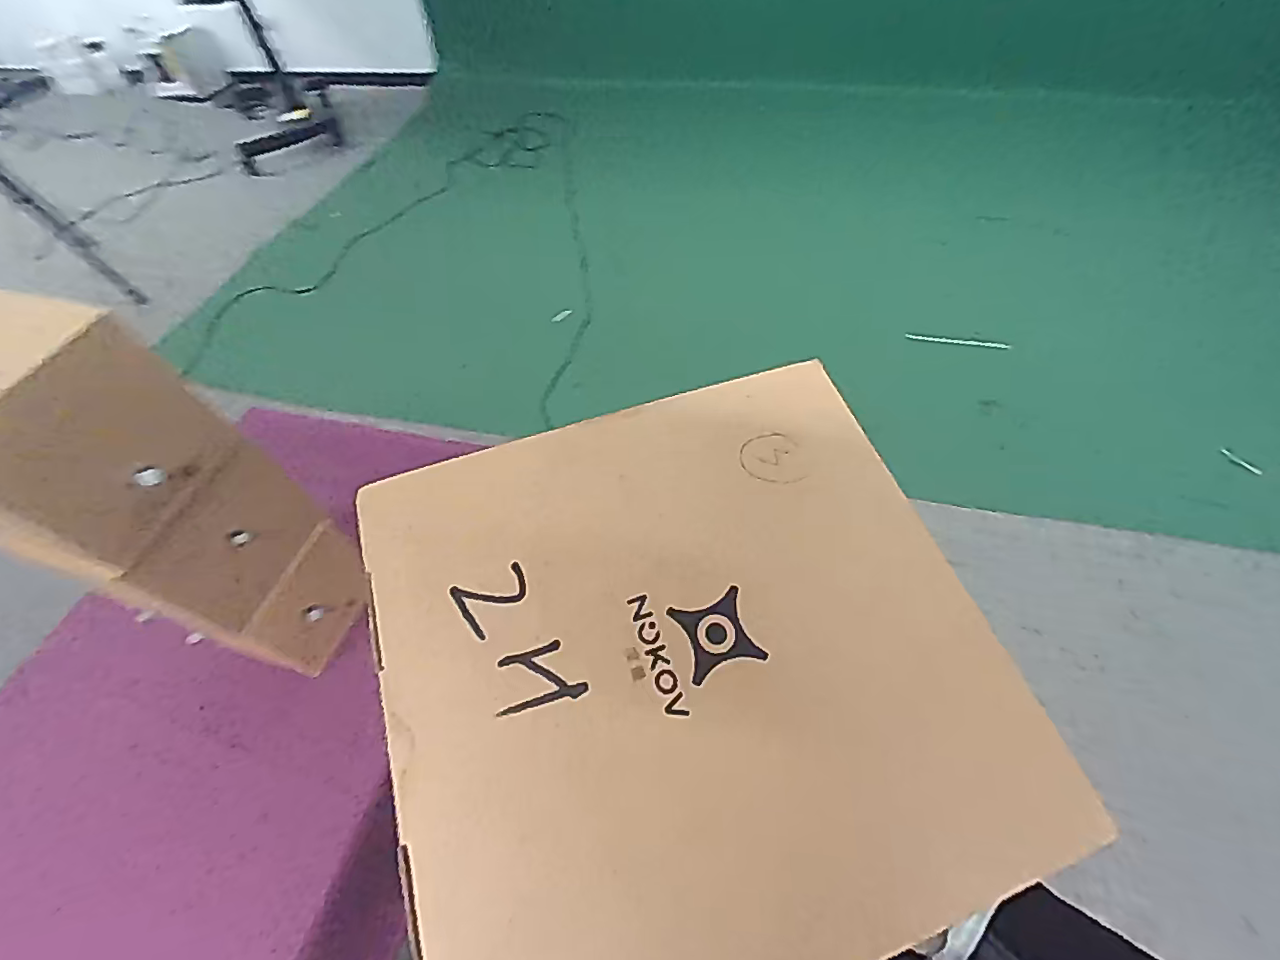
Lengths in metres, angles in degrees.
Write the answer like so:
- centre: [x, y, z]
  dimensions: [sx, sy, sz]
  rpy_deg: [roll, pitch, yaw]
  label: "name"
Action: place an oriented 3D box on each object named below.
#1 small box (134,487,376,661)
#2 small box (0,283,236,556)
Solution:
- centre: [-0.511, 0.136, 0.752]
  dimensions: [0.179, 0.176, 0.168]
  rpy_deg: [11, 57, 13]
  label: "small box"
- centre: [-0.530, -0.050, 0.481]
  dimensions: [0.179, 0.176, 0.168]
  rpy_deg: [11, 57, 12]
  label: "small box"
